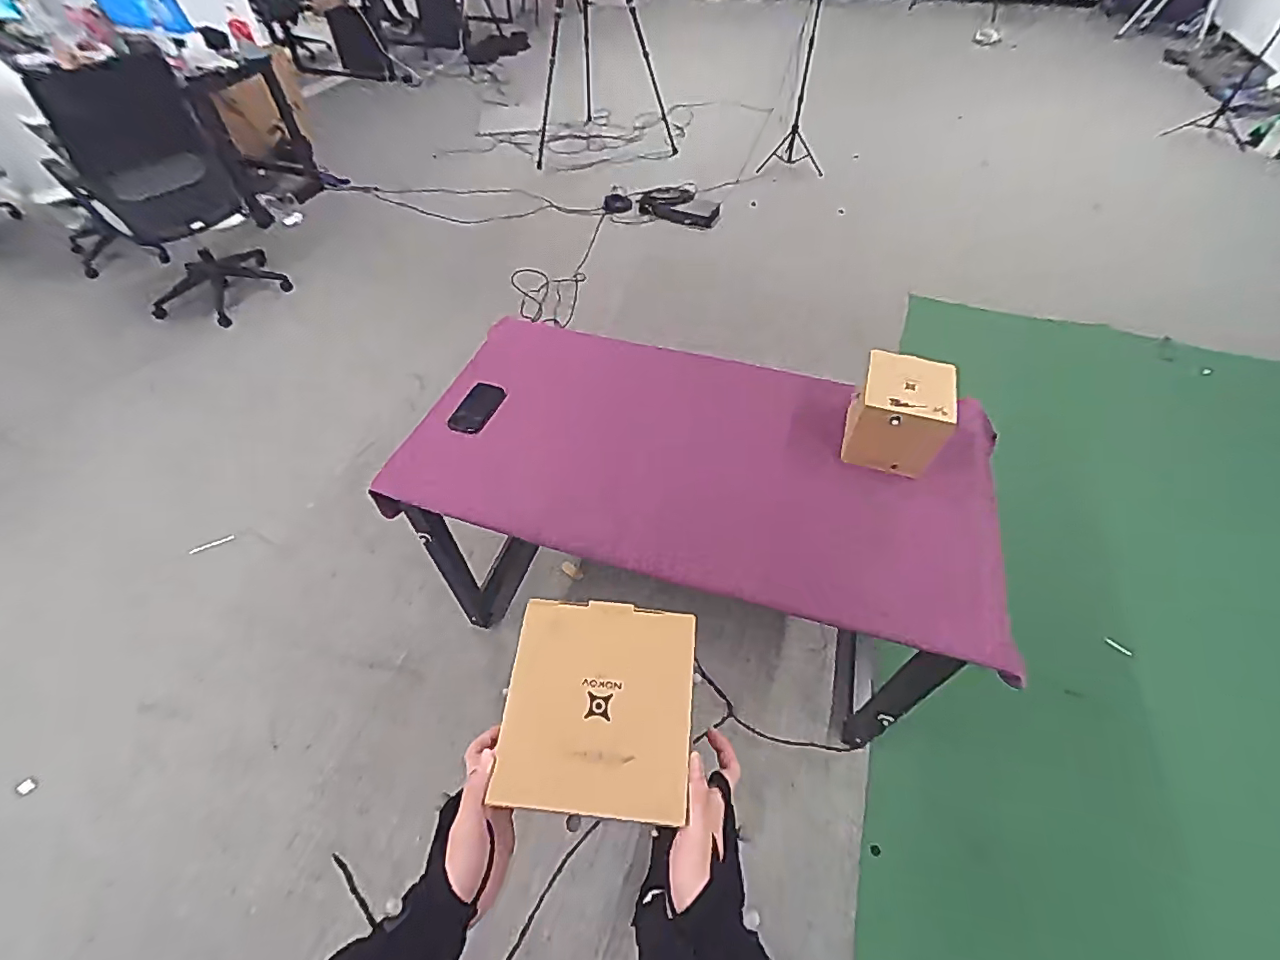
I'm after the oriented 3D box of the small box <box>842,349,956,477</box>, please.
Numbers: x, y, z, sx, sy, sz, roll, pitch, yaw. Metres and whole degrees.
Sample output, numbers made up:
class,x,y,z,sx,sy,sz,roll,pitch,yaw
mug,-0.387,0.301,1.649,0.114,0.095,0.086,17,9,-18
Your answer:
class,x,y,z,sx,sy,sz,roll,pitch,yaw
small box,0.522,-0.137,1.104,0.168,0.176,0.179,14,52,13

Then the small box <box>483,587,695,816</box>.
class,x,y,z,sx,sy,sz,roll,pitch,yaw
small box,-0.040,0.225,0.542,0.168,0.176,0.179,5,59,3
